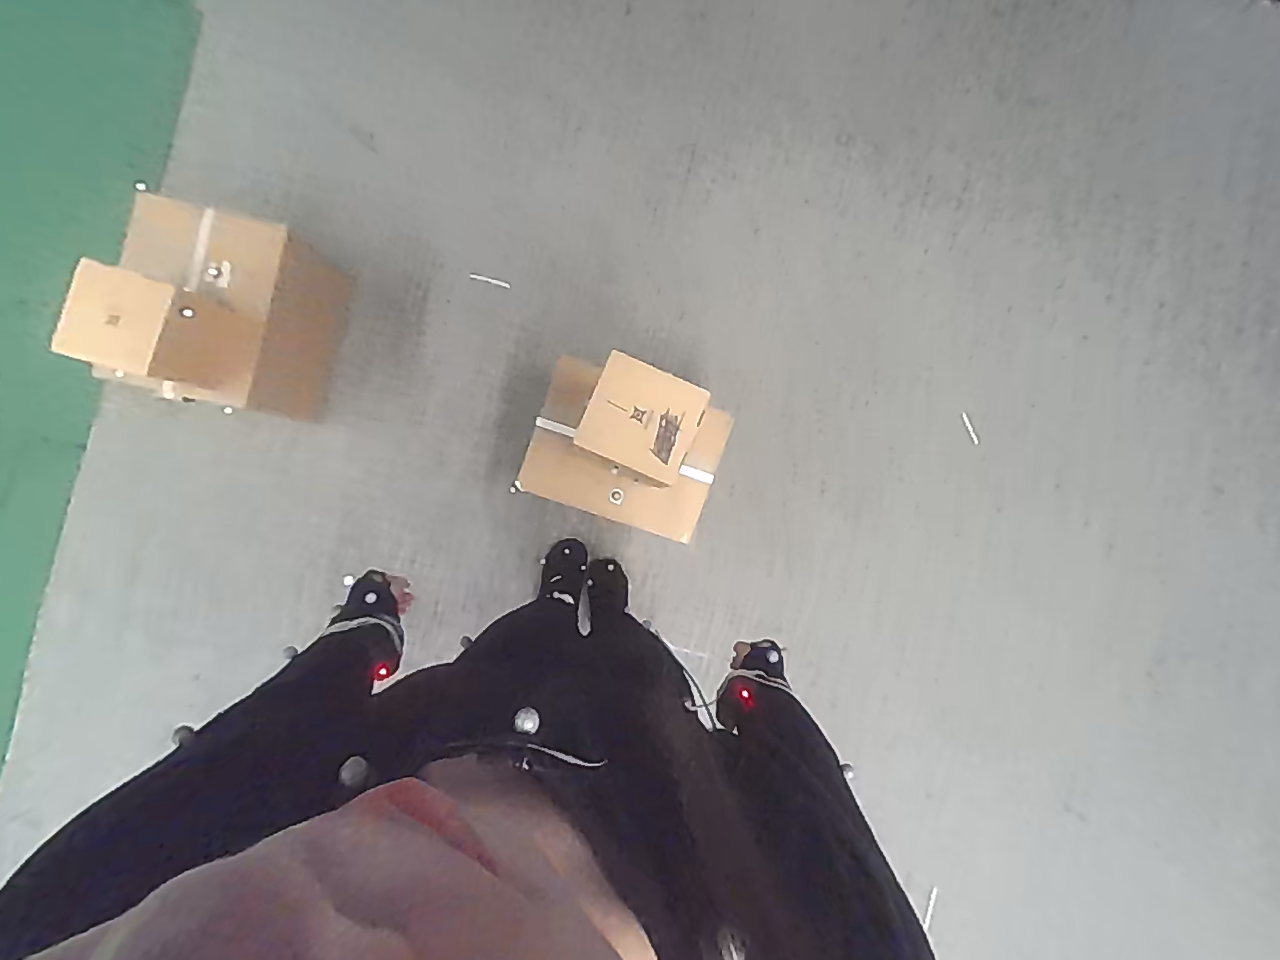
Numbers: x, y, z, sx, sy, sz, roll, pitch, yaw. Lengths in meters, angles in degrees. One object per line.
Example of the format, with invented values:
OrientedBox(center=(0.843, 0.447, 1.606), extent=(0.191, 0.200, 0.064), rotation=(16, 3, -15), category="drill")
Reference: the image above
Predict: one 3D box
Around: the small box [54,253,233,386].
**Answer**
OrientedBox(center=(-0.930, -0.293, 1.032), extent=(0.168, 0.176, 0.179), rotation=(17, 87, -5), category="small box")

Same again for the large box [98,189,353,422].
OrientedBox(center=(-0.941, -0.379, 1.278), extent=(0.320, 0.320, 0.408), rotation=(13, 88, -4), category="large box")

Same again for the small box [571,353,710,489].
OrientedBox(center=(-0.004, -0.093, 0.936), extent=(0.179, 0.176, 0.168), rotation=(24, 86, -3), category="small box")
